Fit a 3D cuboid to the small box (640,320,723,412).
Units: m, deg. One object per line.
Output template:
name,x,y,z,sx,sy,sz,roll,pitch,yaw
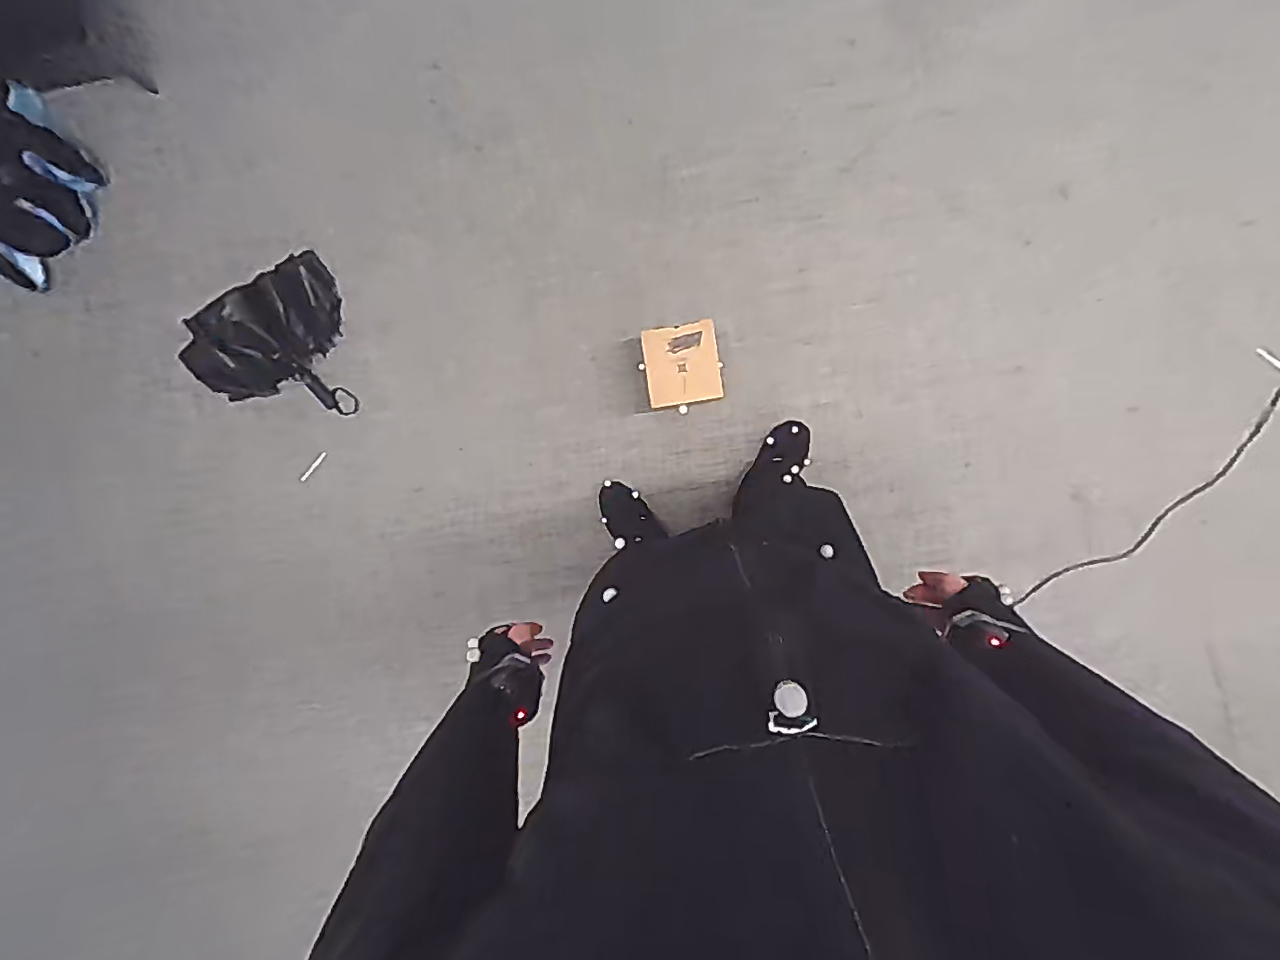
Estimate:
small box,0.091,-0.256,1.249,0.168,0.176,0.179,-9,96,3
